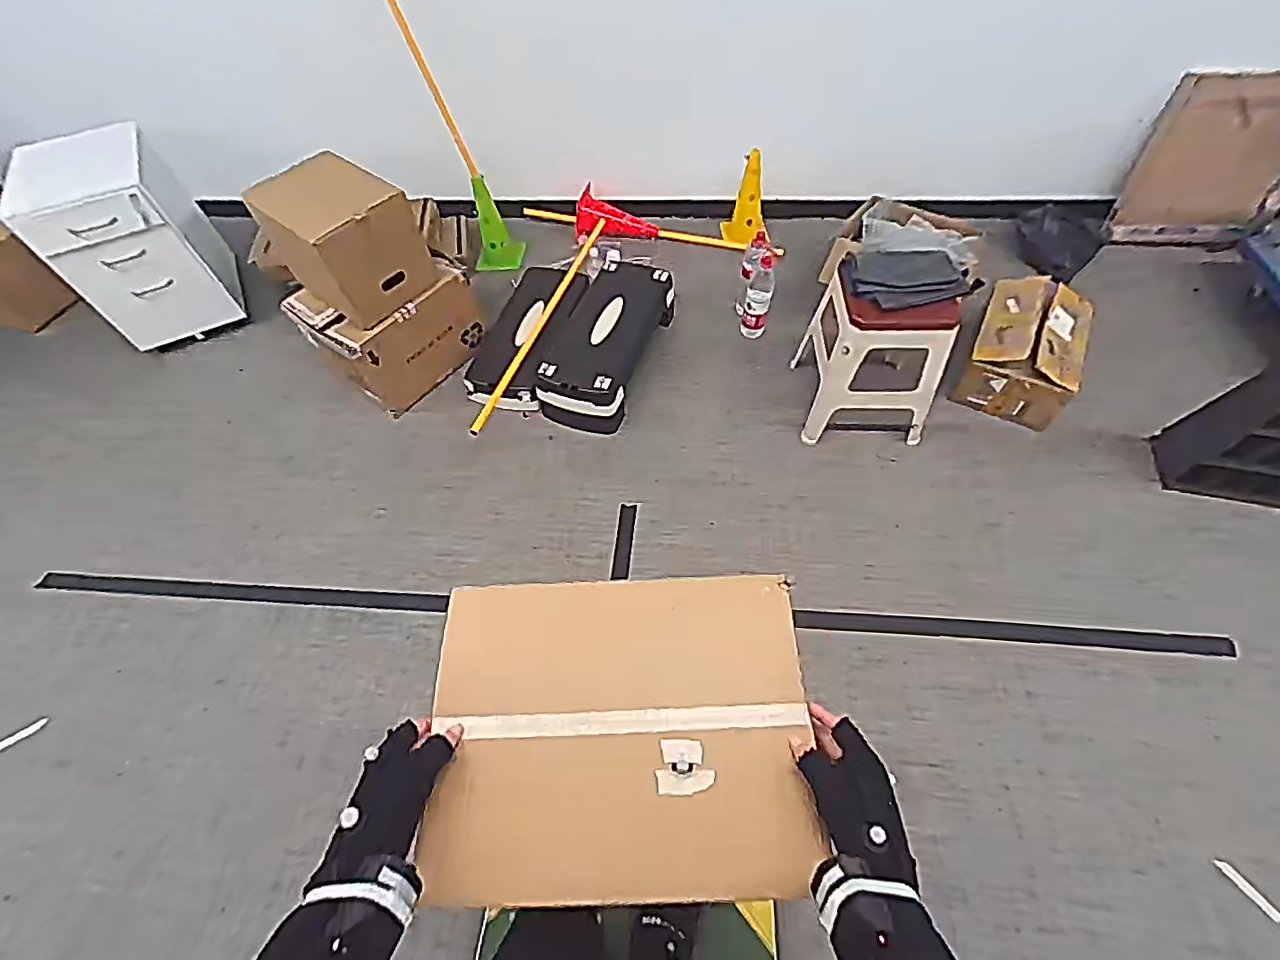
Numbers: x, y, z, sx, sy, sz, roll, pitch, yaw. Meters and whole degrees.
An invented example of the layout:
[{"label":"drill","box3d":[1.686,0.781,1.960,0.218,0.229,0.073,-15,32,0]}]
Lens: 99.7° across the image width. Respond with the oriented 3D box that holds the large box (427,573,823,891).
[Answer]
[{"label":"large box","box3d":[-0.019,0.333,0.734,0.408,0.320,0.320,-2,61,0]}]
